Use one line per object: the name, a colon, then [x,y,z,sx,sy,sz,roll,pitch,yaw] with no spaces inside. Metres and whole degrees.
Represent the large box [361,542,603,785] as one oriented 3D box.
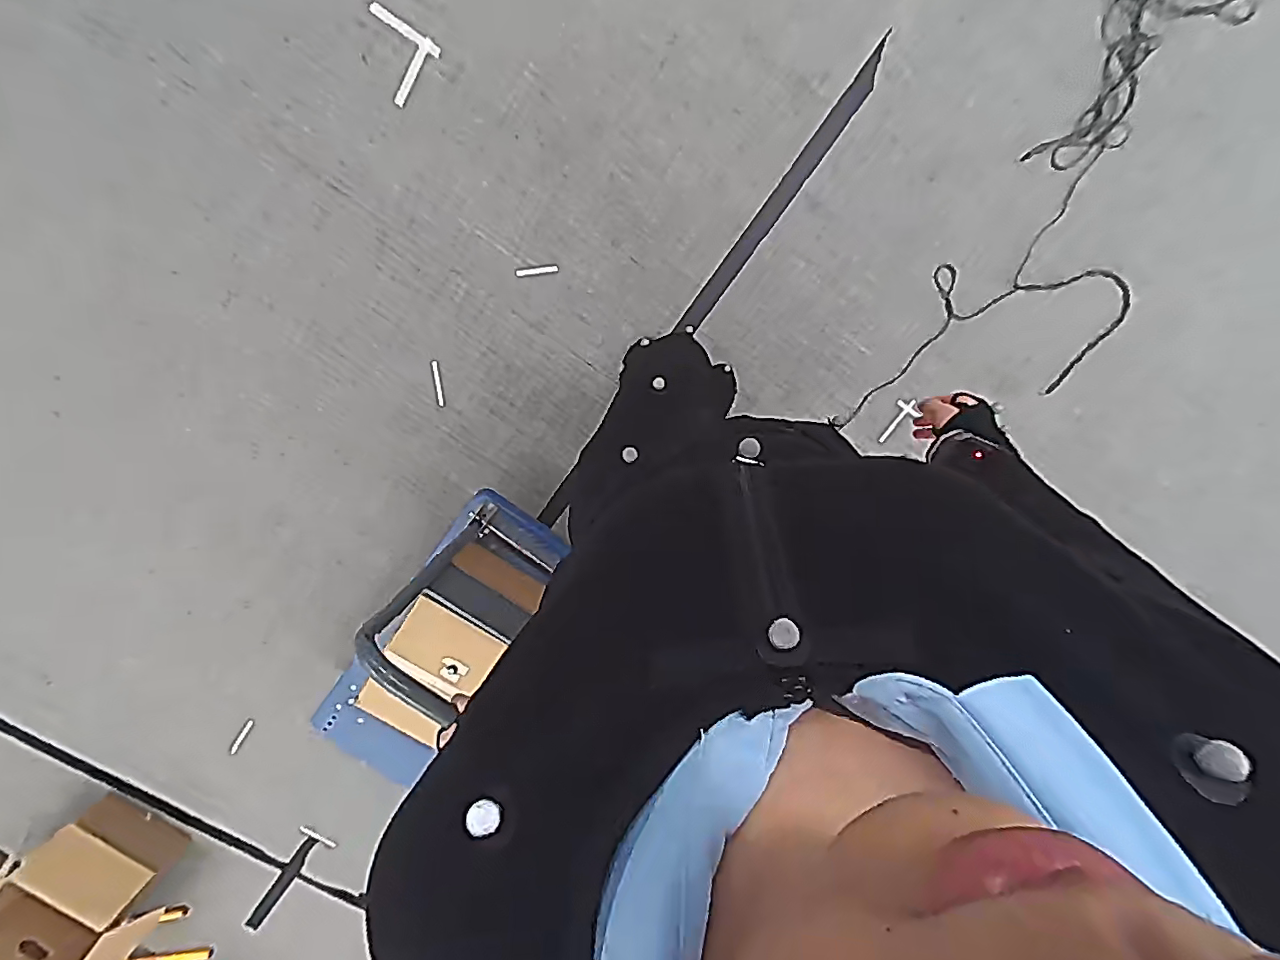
large box: [-0.344,0.415,1.284,0.408,0.320,0.320,33,101,-7]
